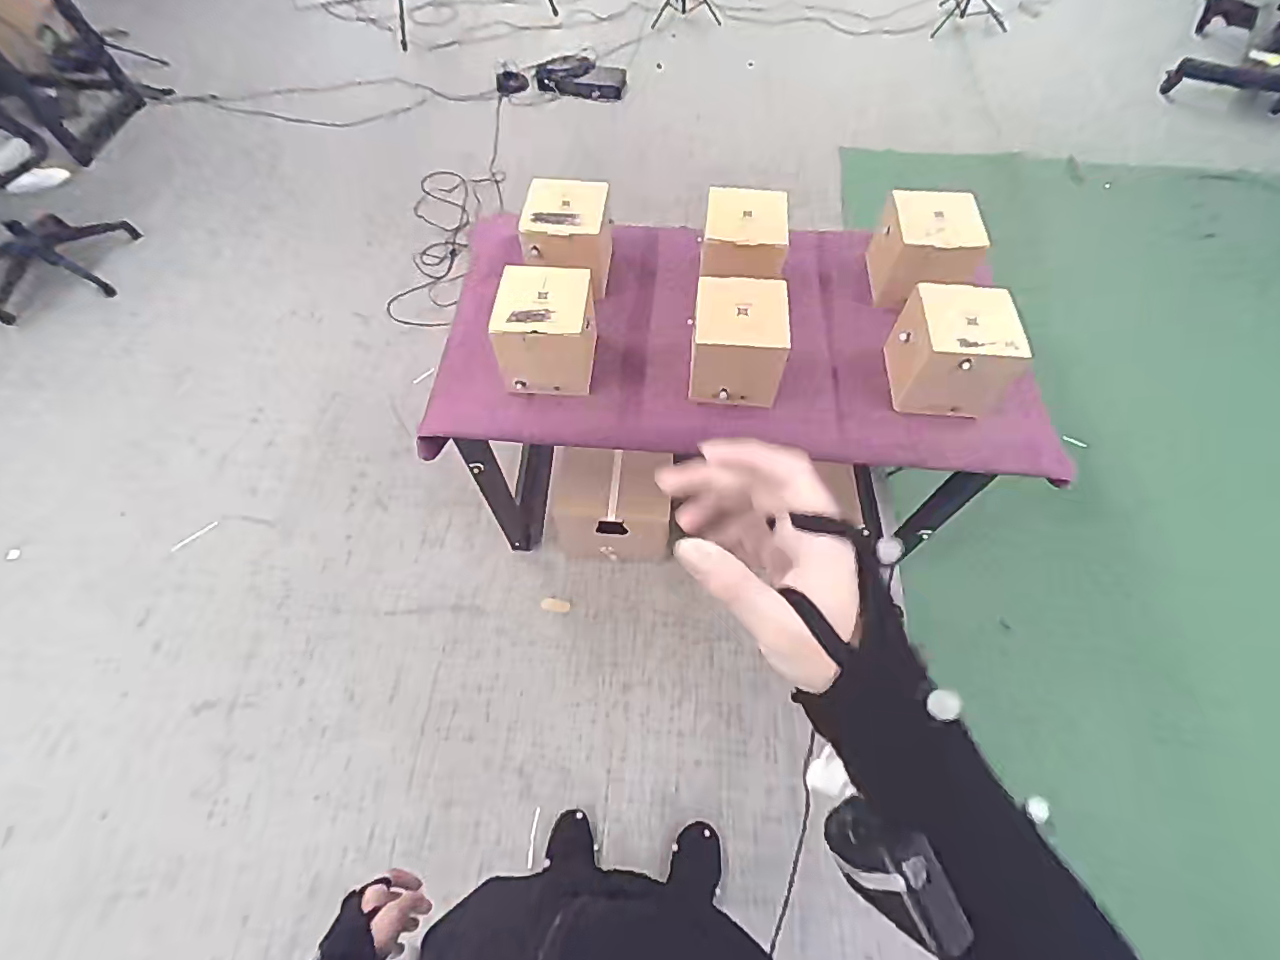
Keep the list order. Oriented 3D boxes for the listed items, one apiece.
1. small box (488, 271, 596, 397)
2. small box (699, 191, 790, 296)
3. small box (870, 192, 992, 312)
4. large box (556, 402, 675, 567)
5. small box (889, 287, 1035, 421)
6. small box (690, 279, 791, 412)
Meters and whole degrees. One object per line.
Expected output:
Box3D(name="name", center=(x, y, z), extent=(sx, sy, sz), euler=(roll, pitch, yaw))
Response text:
Box3D(name="small box", center=(-0.177, -0.277, 1.044), extent=(0.168, 0.176, 0.179), euler=(3, 58, 2))
Box3D(name="small box", center=(0.220, -0.489, 1.167), extent=(0.168, 0.176, 0.179), euler=(5, 61, 3))
Box3D(name="small box", center=(0.606, -0.482, 1.154), extent=(0.168, 0.176, 0.179), euler=(4, 61, 5))
Box3D(name="large box", center=(-0.057, 0.020, 1.638), extent=(0.320, 0.320, 0.408), euler=(4, 59, 2))
Box3D(name="small box", center=(0.585, -0.234, 1.011), extent=(0.168, 0.176, 0.179), euler=(4, 58, 5))
Box3D(name="small box", center=(0.185, -0.254, 1.029), extent=(0.168, 0.176, 0.179), euler=(4, 59, 4))
